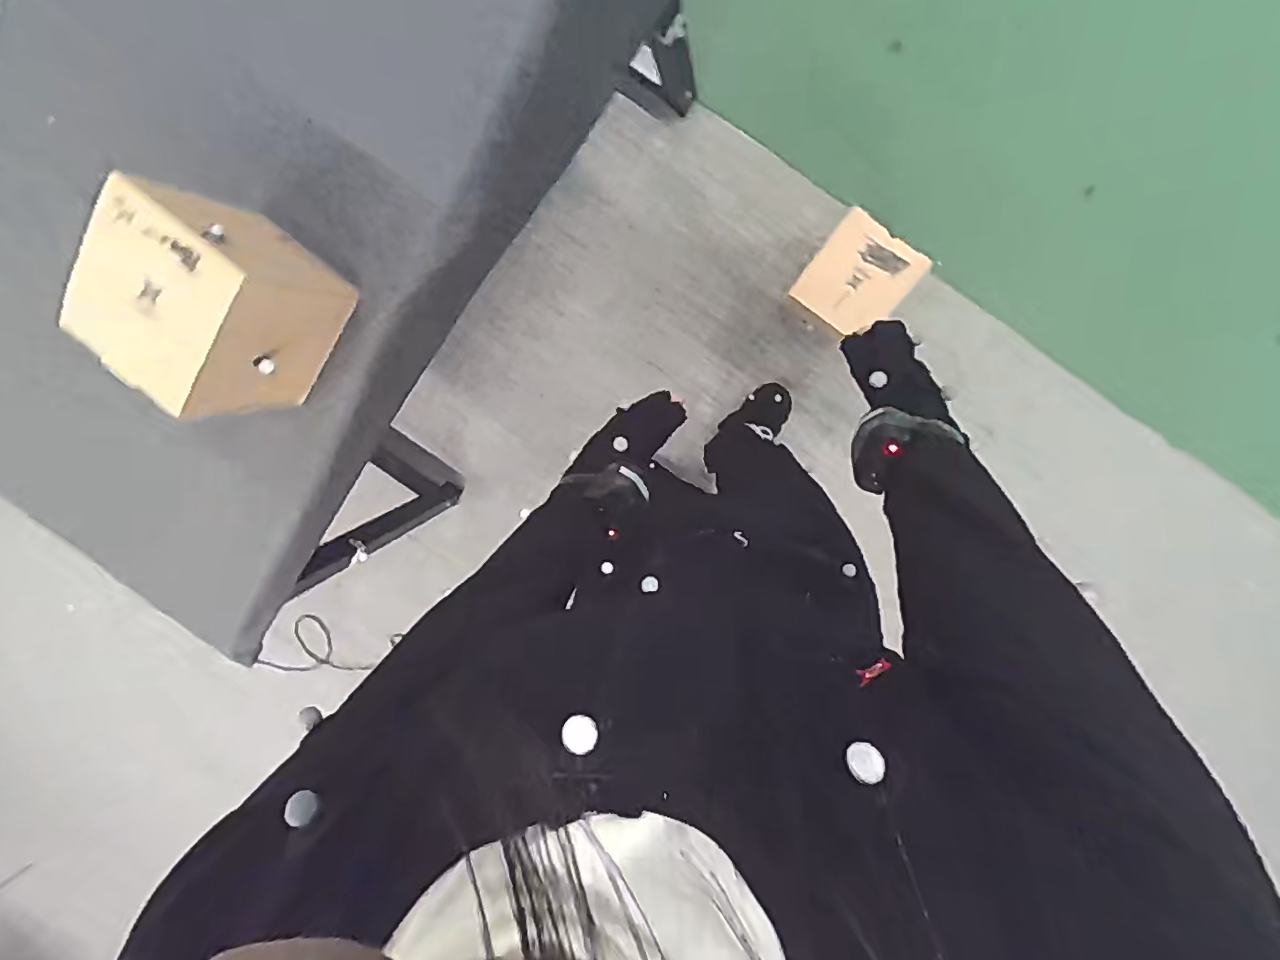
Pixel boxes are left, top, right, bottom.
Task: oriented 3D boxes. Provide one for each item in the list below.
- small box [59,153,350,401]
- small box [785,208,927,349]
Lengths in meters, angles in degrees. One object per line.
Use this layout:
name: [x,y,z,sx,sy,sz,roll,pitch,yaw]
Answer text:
small box: [-0.471,-0.212,0.609,0.168,0.176,0.179,40,107,0]
small box: [0.387,-0.365,1.011,0.168,0.176,0.179,39,108,0]
